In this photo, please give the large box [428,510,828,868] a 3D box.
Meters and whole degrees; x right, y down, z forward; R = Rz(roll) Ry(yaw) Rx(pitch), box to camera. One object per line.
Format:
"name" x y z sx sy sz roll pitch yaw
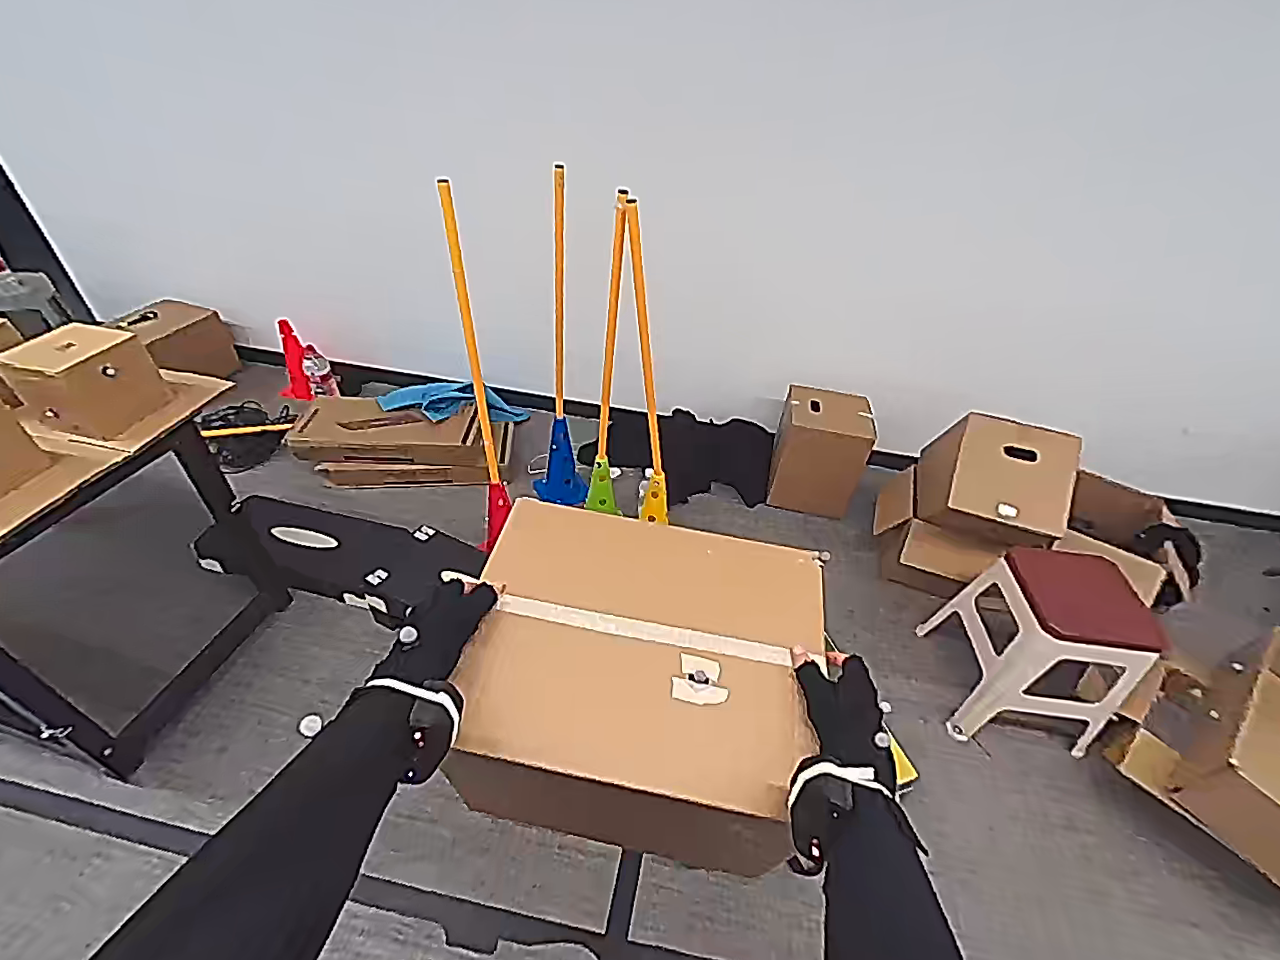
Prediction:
"large box" -0.005 0.280 0.729 0.408 0.320 0.320 10 48 4
